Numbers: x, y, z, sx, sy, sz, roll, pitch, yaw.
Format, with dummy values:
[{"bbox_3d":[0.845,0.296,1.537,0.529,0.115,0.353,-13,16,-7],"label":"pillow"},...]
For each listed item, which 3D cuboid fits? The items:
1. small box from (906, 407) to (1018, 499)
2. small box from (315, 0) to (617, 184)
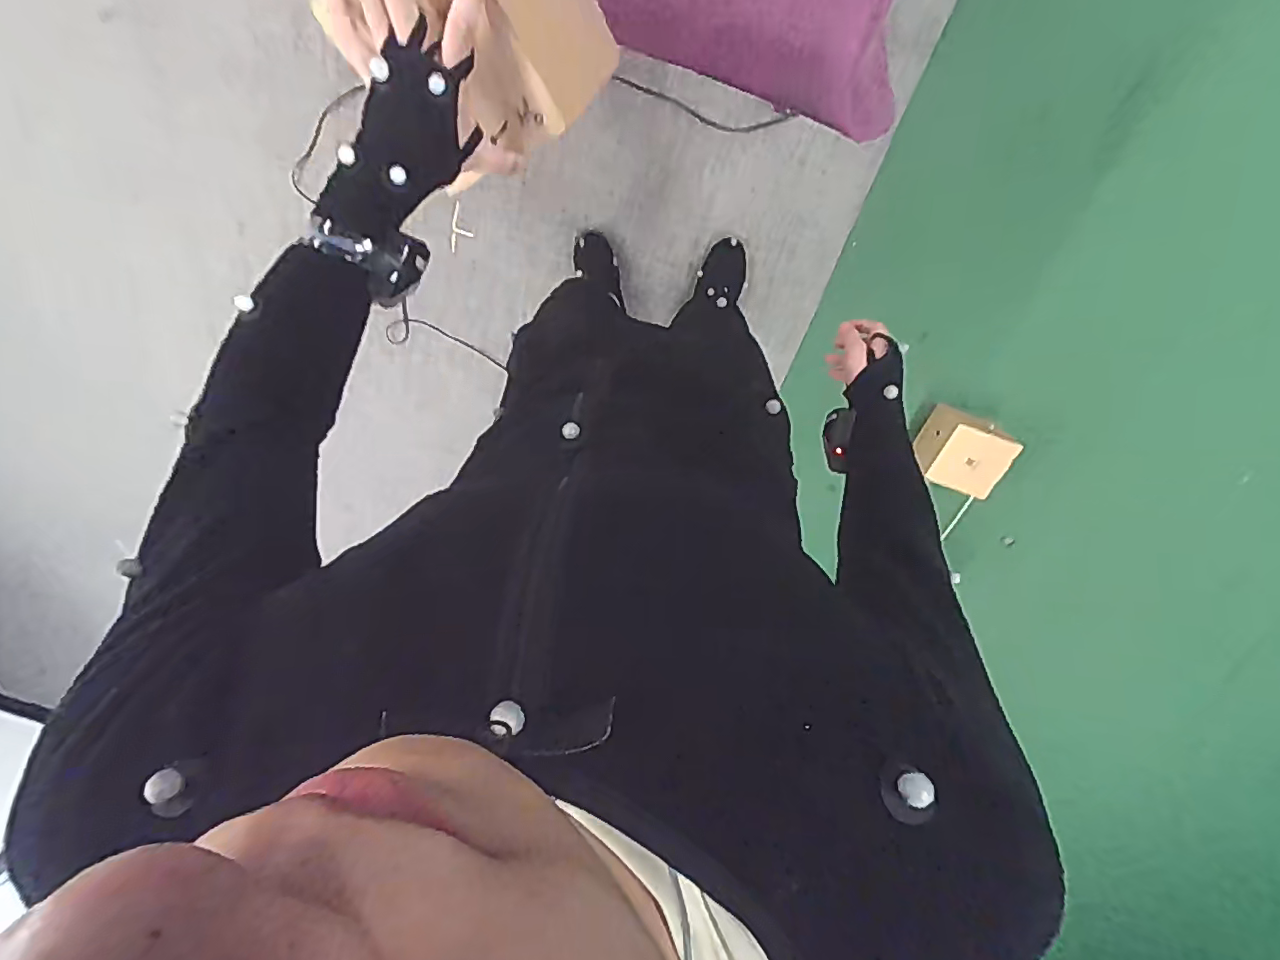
[{"bbox_3d":[0.854,-0.081,1.459,0.179,0.176,0.168,19,119,-1],"label":"small box"},{"bbox_3d":[-0.146,-0.422,0.500,0.168,0.176,0.179,-3,142,32],"label":"small box"}]
